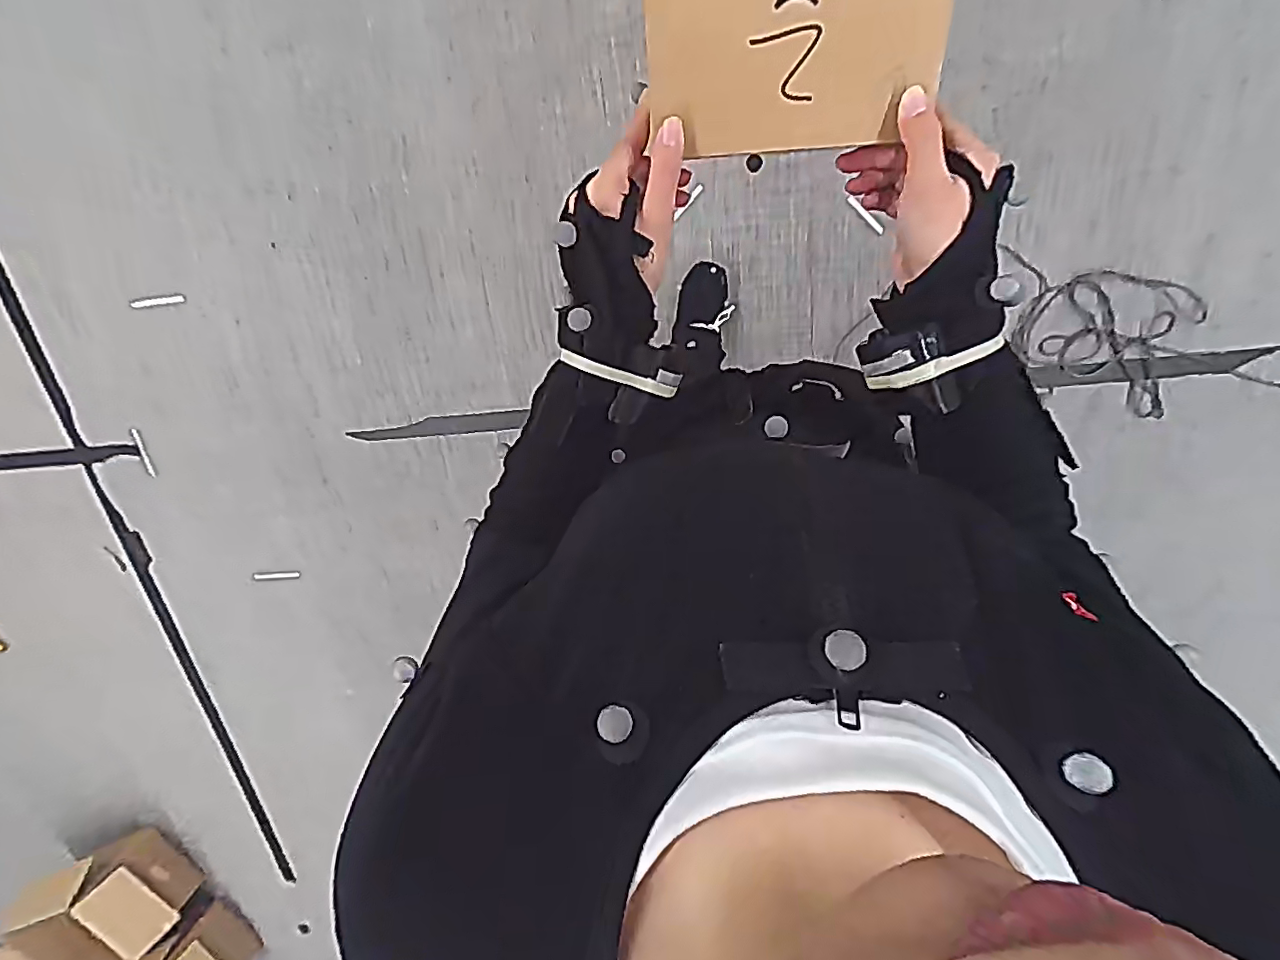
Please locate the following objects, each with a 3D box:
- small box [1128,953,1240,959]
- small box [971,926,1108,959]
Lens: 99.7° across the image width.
[{"bbox_3d":[0.828,0.811,0.761,0.168,0.176,0.179,-12,107,10],"label":"small box"},{"bbox_3d":[0.597,0.790,0.778,0.179,0.176,0.168,4,111,4],"label":"small box"}]
